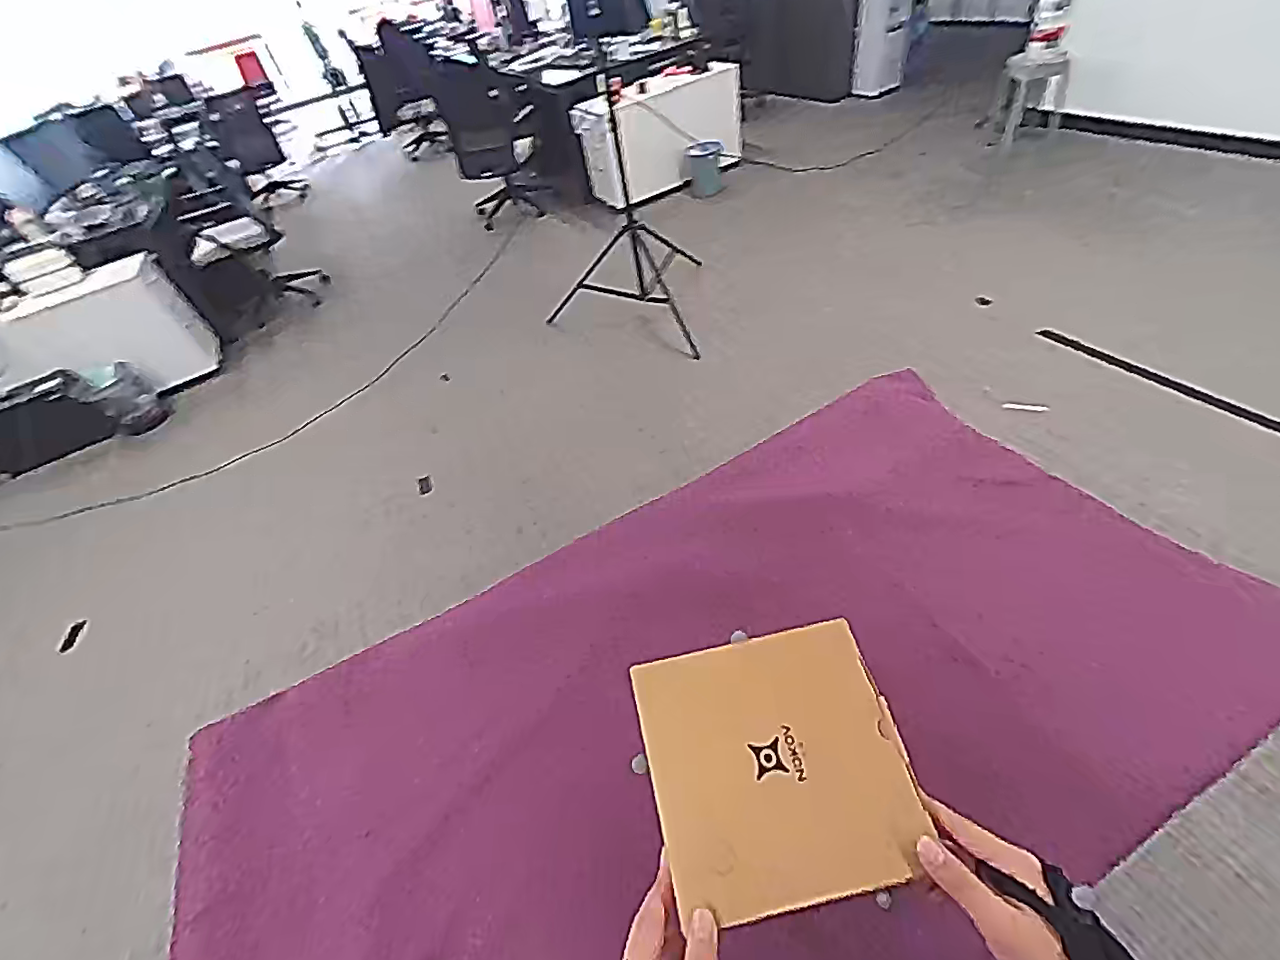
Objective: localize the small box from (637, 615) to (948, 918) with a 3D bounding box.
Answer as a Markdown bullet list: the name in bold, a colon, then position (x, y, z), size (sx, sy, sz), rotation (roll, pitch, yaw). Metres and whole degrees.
- **small box**: position (0.101, 0.232, 0.444), size (0.179, 0.176, 0.168), rotation (-11, 57, -4)
